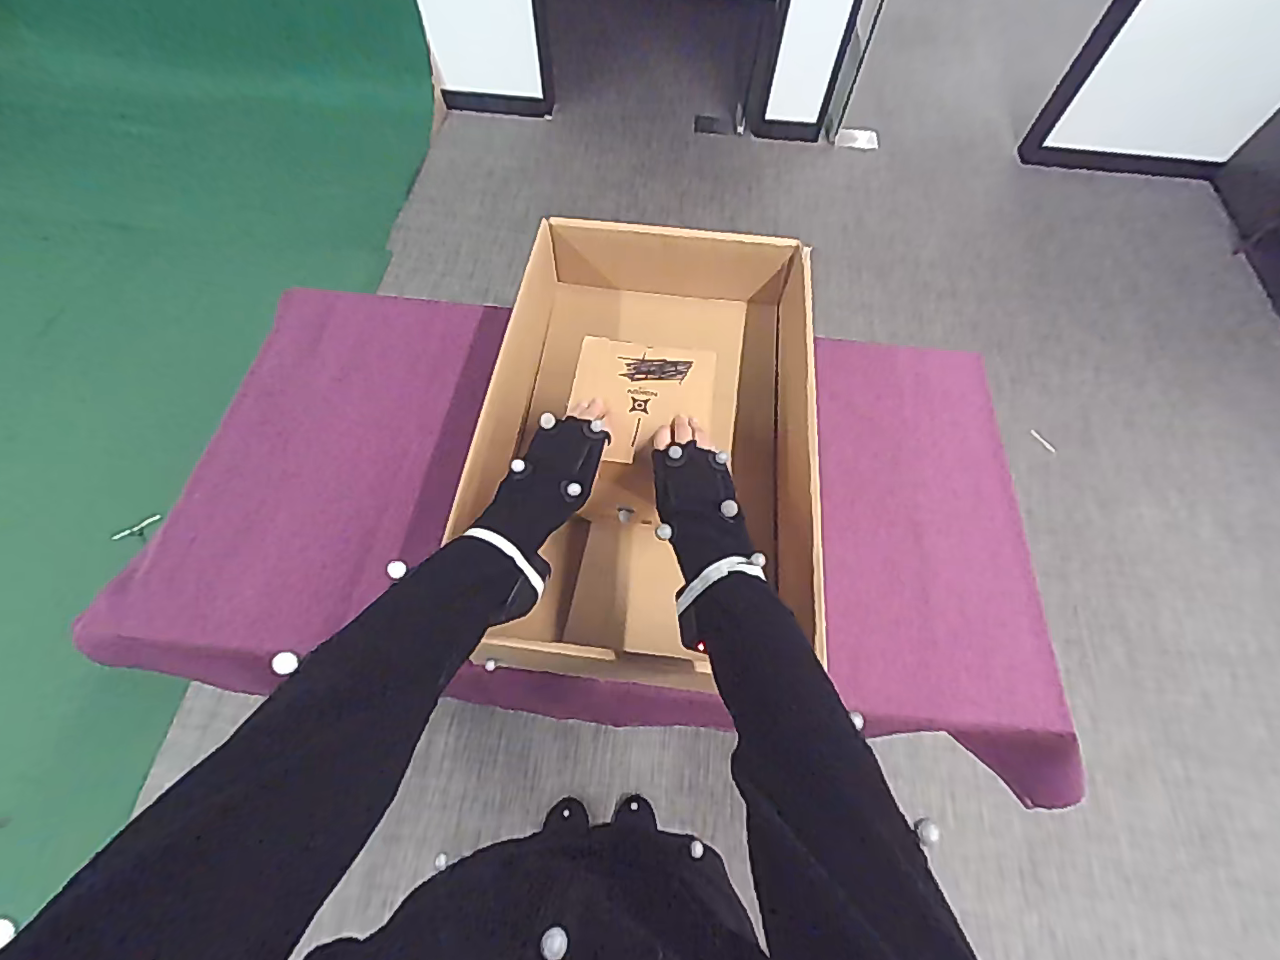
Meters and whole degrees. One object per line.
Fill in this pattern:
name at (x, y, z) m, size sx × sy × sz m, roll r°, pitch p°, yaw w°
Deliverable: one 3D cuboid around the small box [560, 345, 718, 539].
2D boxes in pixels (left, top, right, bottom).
small box at (0.001, -0.044, 0.693) m, size 0.168 × 0.176 × 0.179 m, roll 7°, pitch 62°, yaw 2°
